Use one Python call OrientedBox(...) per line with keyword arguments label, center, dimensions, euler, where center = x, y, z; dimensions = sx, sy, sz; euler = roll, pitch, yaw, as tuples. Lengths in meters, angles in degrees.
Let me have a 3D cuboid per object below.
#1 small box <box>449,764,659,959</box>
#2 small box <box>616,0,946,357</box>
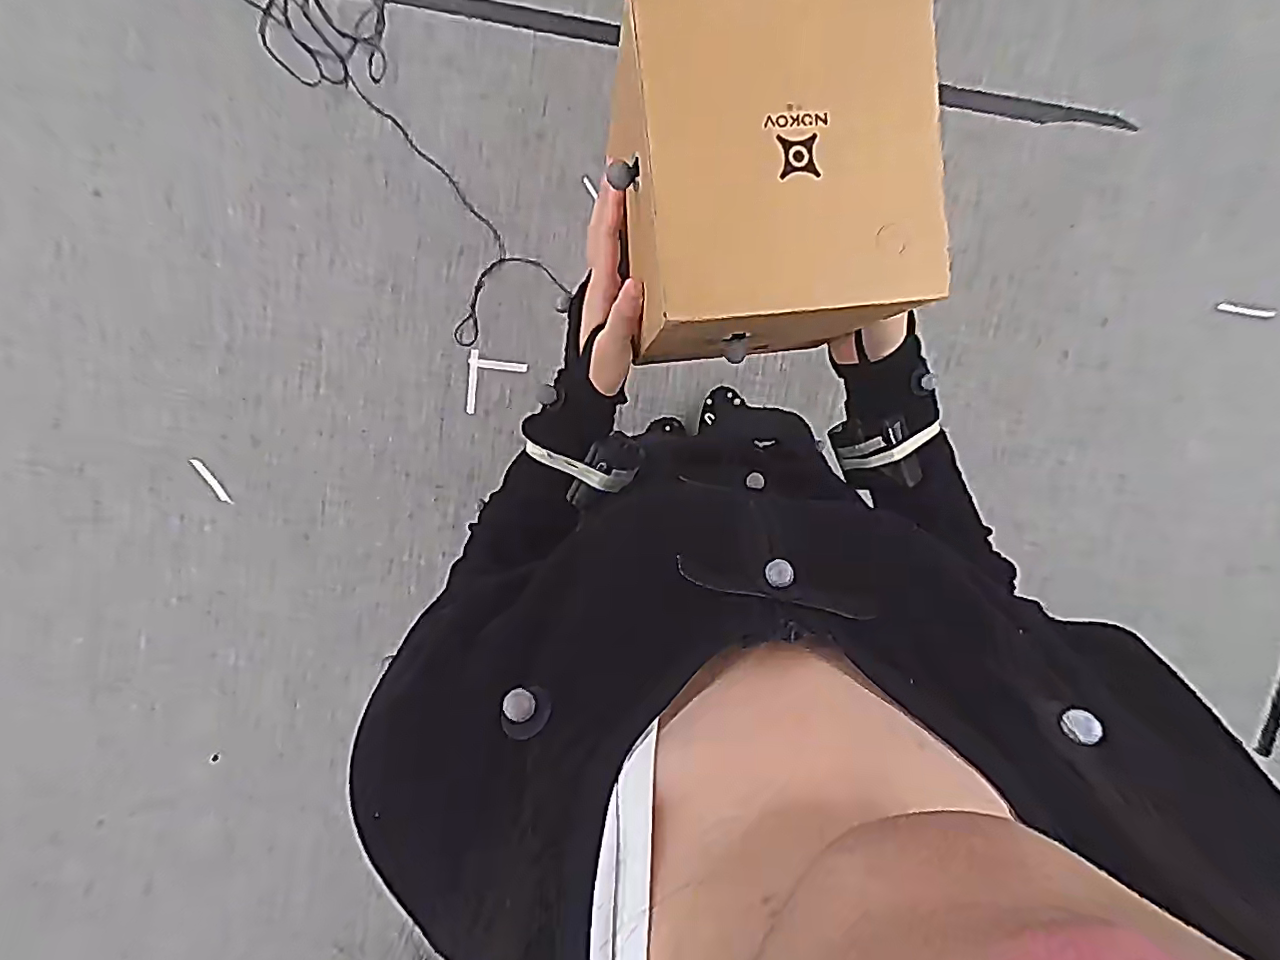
OrientedBox(label="small box", center=(-0.066, 0.394, 0.510), dimensions=(0.168, 0.176, 0.179), euler=(-2, 96, 2))
OrientedBox(label="small box", center=(0.077, -0.187, 0.375), dimensions=(0.168, 0.176, 0.179), euler=(-7, 93, -7))
